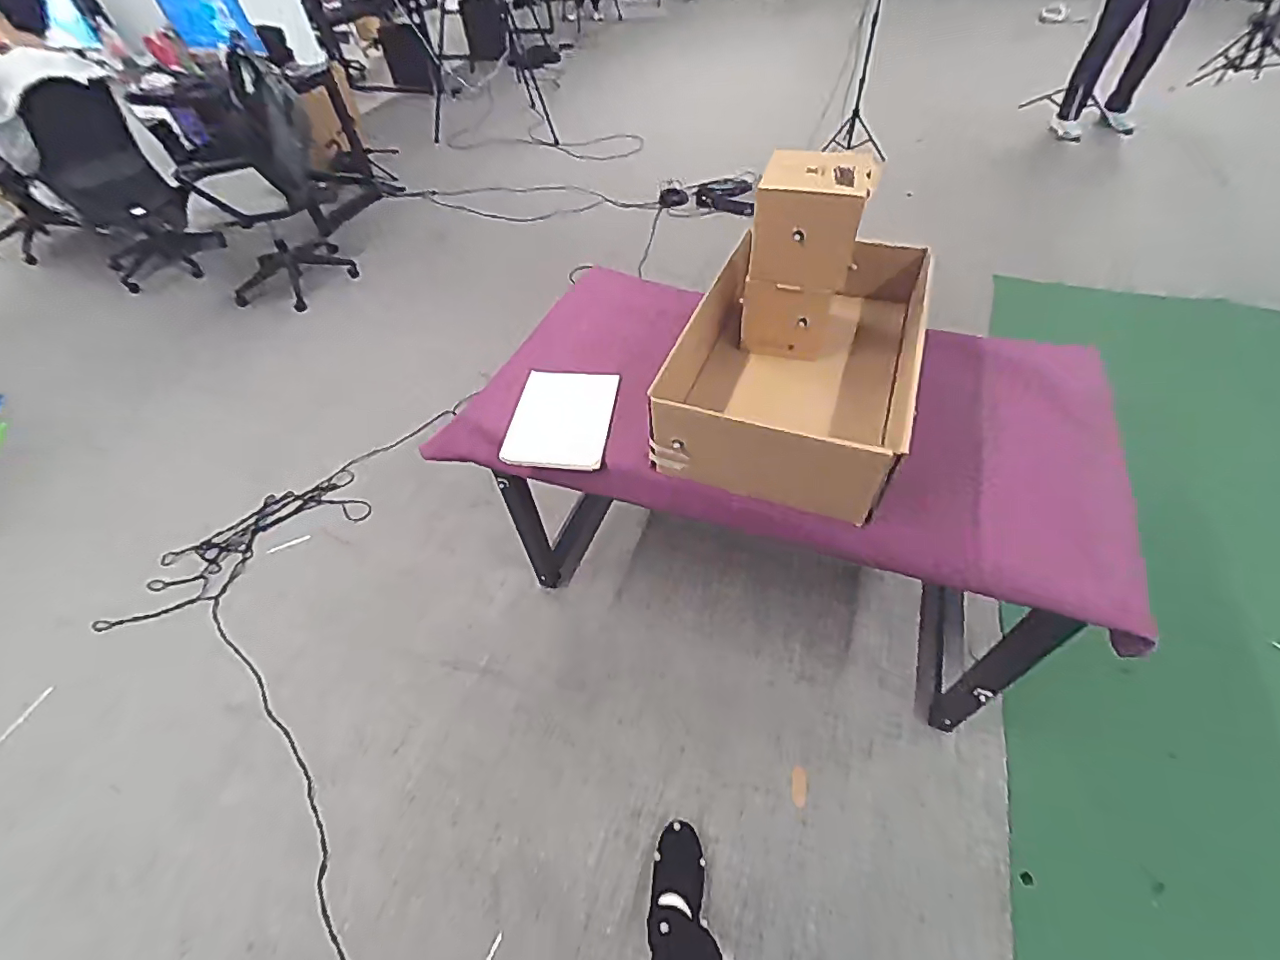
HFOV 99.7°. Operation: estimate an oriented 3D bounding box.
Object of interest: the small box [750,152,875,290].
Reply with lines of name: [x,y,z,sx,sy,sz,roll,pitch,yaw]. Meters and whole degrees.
small box: [0.308,-0.468,0.983,0.179,0.176,0.168,13,53,15]
